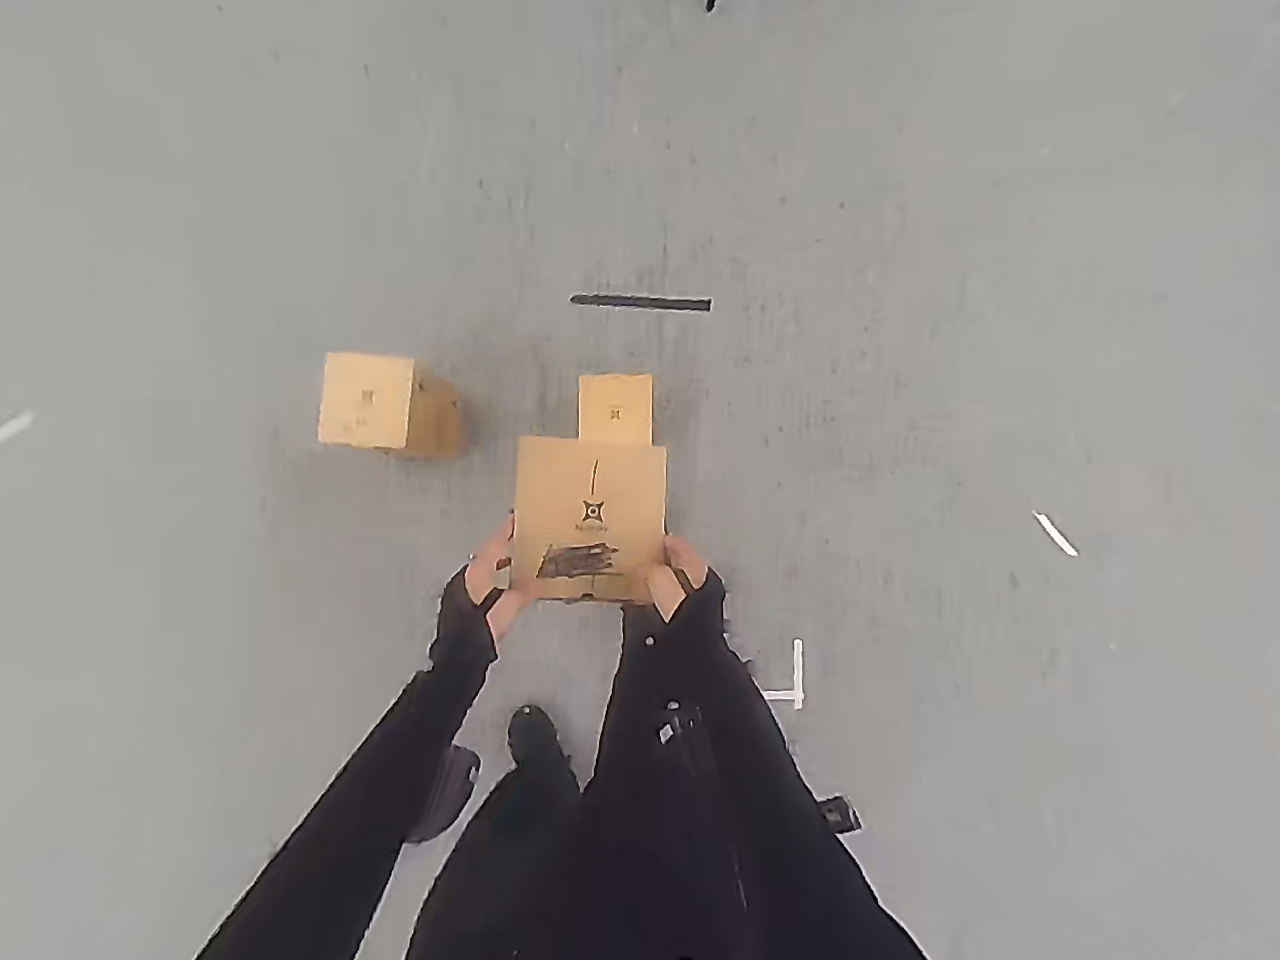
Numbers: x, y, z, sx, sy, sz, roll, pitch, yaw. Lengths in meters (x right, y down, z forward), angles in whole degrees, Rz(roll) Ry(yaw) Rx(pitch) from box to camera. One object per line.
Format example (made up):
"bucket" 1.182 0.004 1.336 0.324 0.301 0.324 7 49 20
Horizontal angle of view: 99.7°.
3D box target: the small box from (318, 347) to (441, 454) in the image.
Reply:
"small box" -0.514 -0.153 1.094 0.168 0.176 0.179 5 87 -2

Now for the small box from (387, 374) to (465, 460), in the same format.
"small box" -0.516 -0.148 1.258 0.168 0.176 0.179 6 86 -2

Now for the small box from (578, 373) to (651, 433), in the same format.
"small box" -0.061 -0.148 1.289 0.168 0.176 0.179 0 86 -4

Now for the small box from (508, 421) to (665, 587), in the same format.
"small box" -0.071 0.037 0.672 0.168 0.176 0.179 4 81 -12
